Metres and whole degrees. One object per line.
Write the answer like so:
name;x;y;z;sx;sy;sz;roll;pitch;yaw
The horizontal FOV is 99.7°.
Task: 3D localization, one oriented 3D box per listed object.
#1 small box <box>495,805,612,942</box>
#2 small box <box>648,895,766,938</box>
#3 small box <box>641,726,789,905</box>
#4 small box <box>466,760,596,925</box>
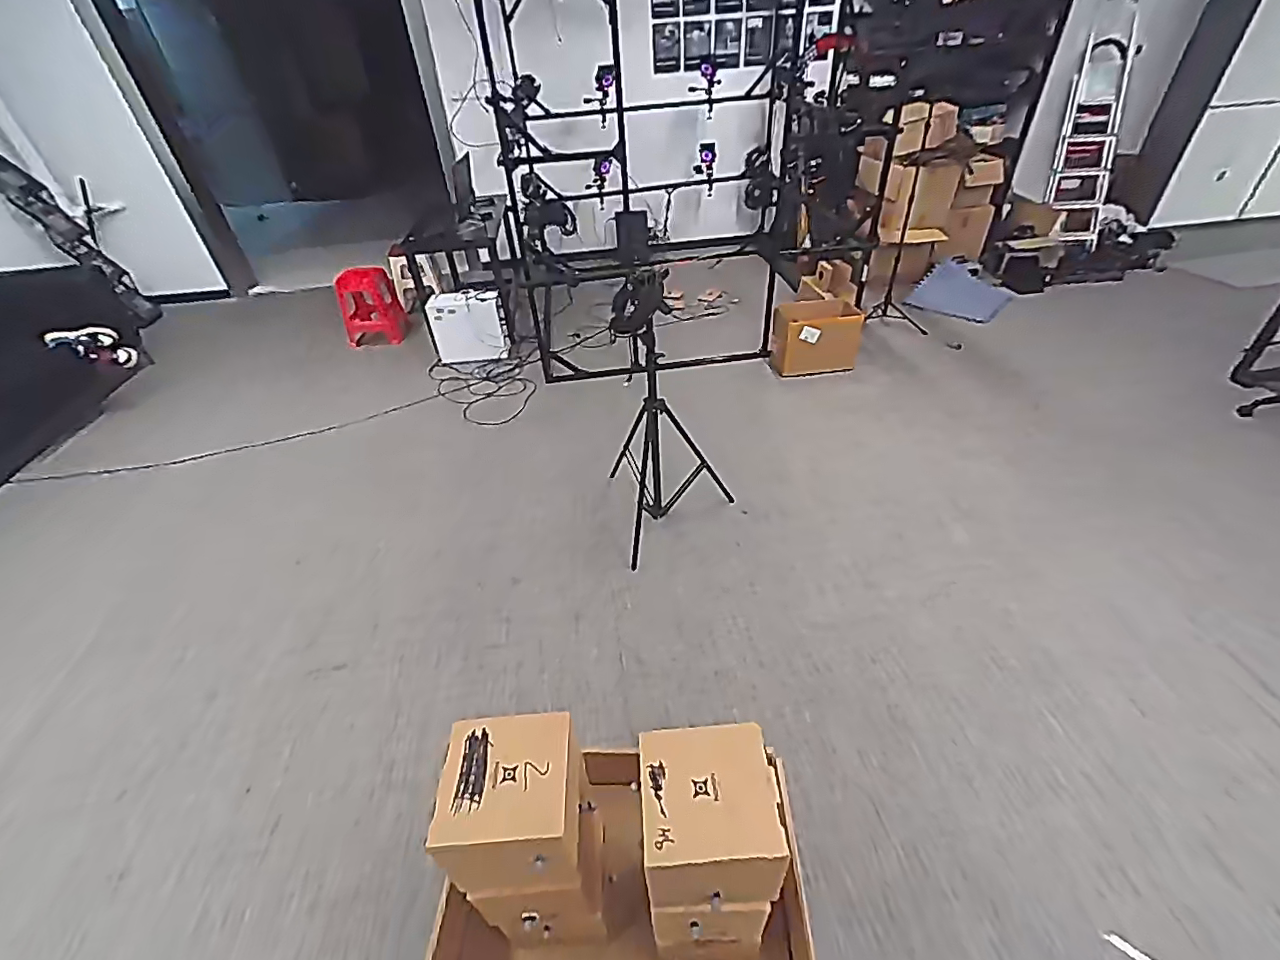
small box;-0.146;0.716;0.982;0.179;0.176;0.168;-3;39;1
small box;0.099;0.595;0.852;0.168;0.176;0.179;-3;38;2
small box;0.092;0.466;0.751;0.179;0.176;0.168;-4;38;0
small box;-0.165;0.588;0.881;0.168;0.176;0.179;-6;39;0
